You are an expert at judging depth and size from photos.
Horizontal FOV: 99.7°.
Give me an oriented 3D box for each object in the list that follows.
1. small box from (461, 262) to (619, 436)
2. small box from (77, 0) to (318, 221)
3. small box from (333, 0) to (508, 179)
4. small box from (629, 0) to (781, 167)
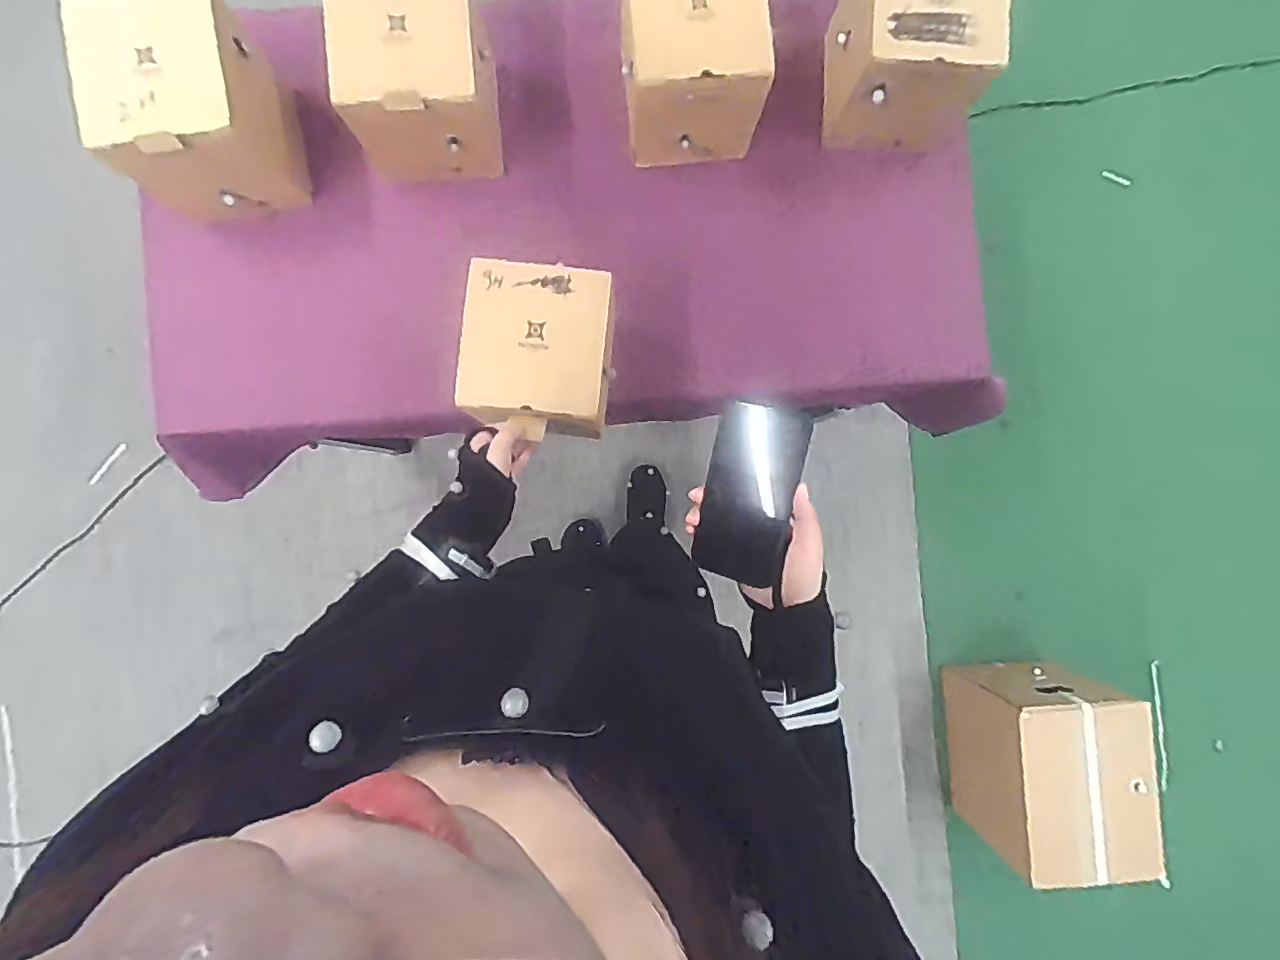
[{"bbox_3d":[-0.117,-0.156,0.700,0.168,0.176,0.179,6,88,-1],"label":"small box"},{"bbox_3d":[-0.550,-0.467,0.696,0.168,0.176,0.179,-9,90,-2],"label":"small box"},{"bbox_3d":[-0.272,-0.517,0.706,0.168,0.176,0.179,-4,89,-3],"label":"small box"},{"bbox_3d":[0.075,-0.552,0.715,0.168,0.176,0.179,-6,90,-2],"label":"small box"}]
